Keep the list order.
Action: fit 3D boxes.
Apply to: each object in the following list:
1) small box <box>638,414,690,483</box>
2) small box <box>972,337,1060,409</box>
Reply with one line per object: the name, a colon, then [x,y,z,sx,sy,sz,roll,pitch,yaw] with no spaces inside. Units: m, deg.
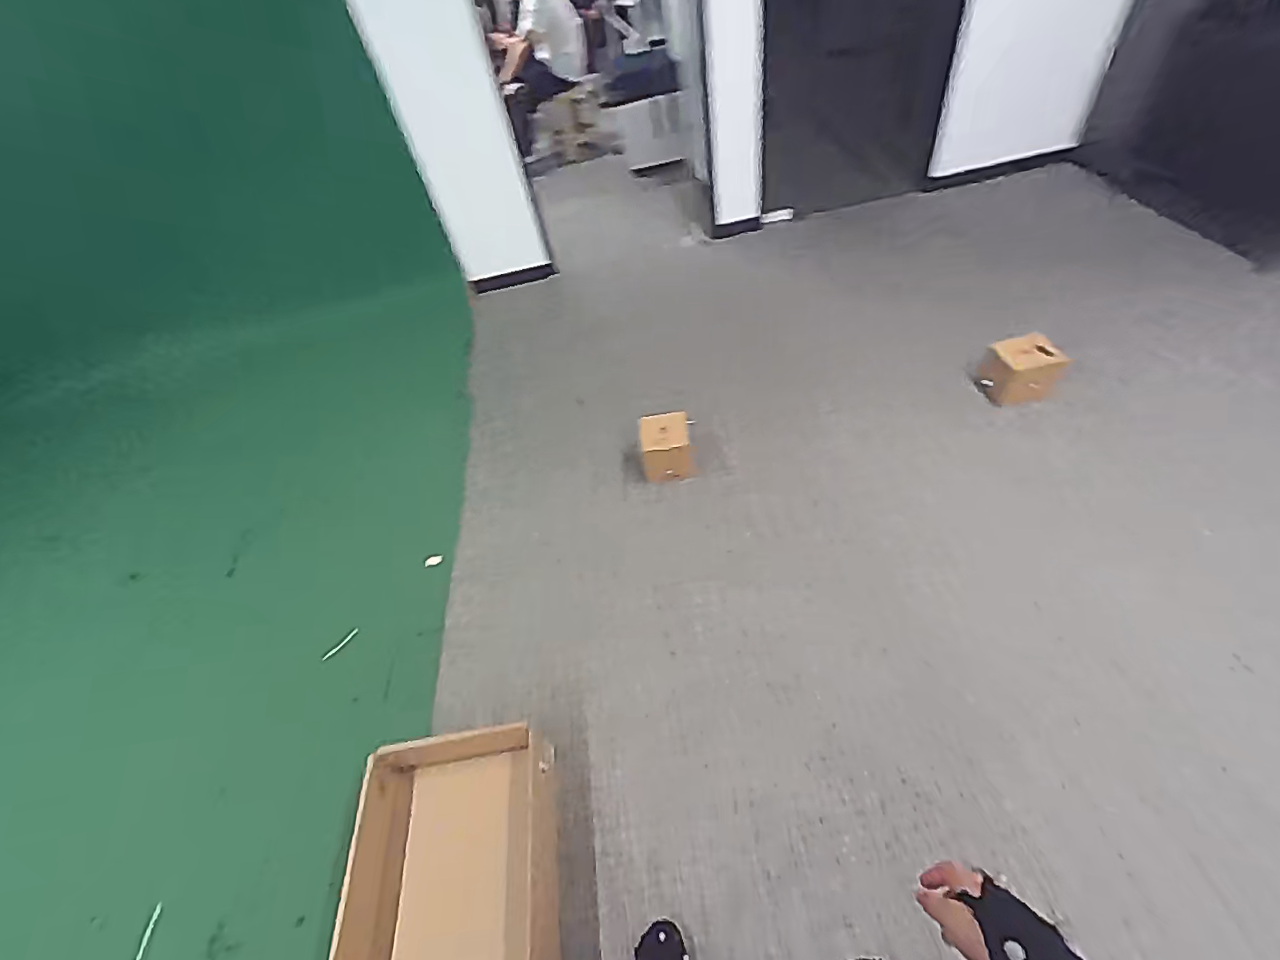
small box: [0.087,-0.111,1.939,0.168,0.176,0.179,-8,48,5]
small box: [1.329,-0.378,1.925,0.179,0.176,0.168,-11,48,2]
